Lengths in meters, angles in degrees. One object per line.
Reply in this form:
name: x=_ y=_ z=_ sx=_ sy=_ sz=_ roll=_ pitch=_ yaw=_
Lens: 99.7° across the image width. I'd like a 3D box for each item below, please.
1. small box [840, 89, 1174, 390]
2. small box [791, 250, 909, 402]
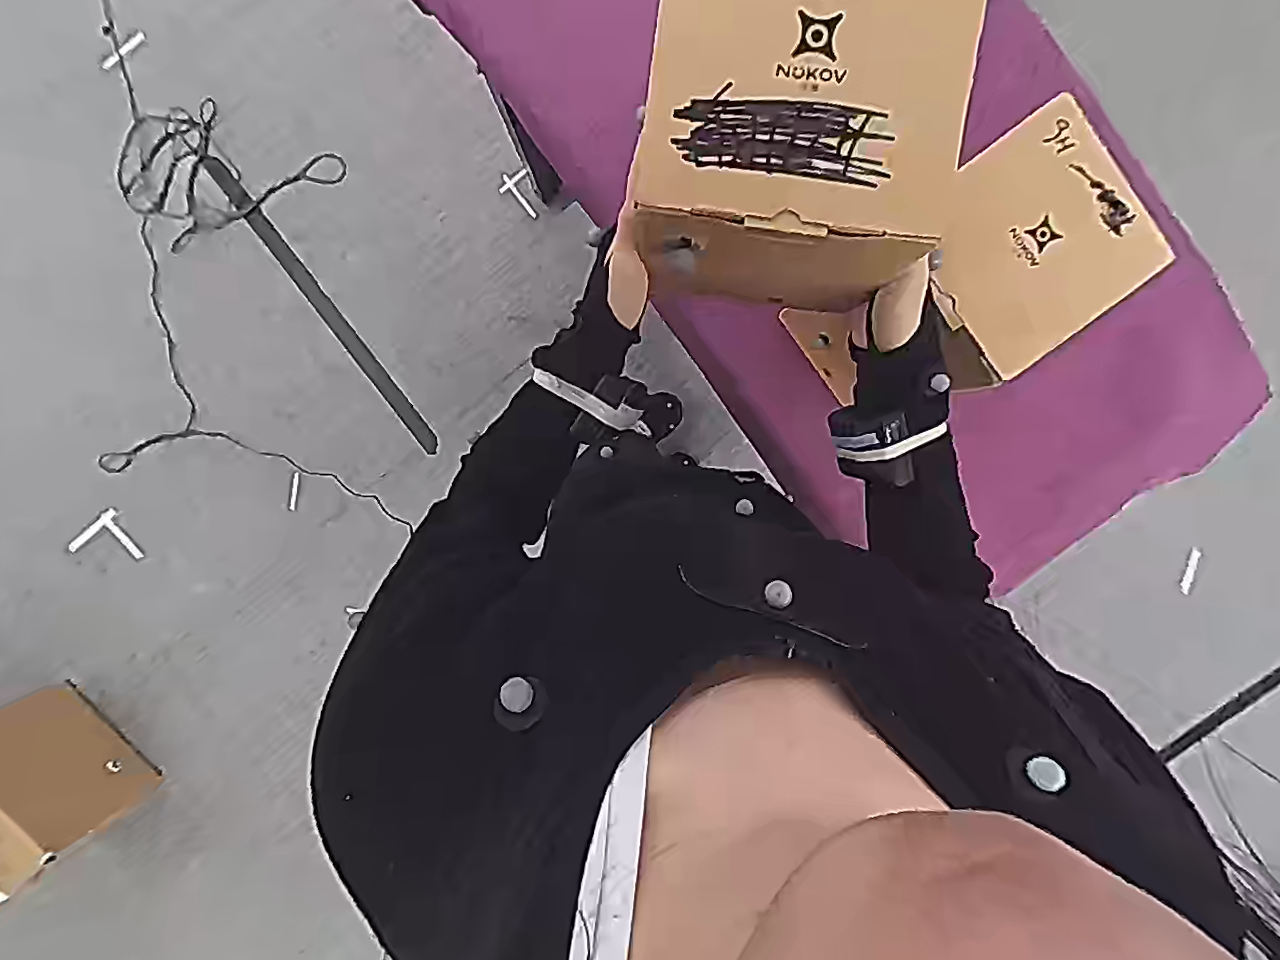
small box: x=0.317 y=-0.202 z=0.517 sx=0.179 sy=0.176 sz=0.168 roll=-36 pitch=94 yaw=3
small box: x=0.311 y=-0.213 z=0.680 sx=0.179 sy=0.176 sz=0.168 roll=-37 pitch=94 yaw=2
